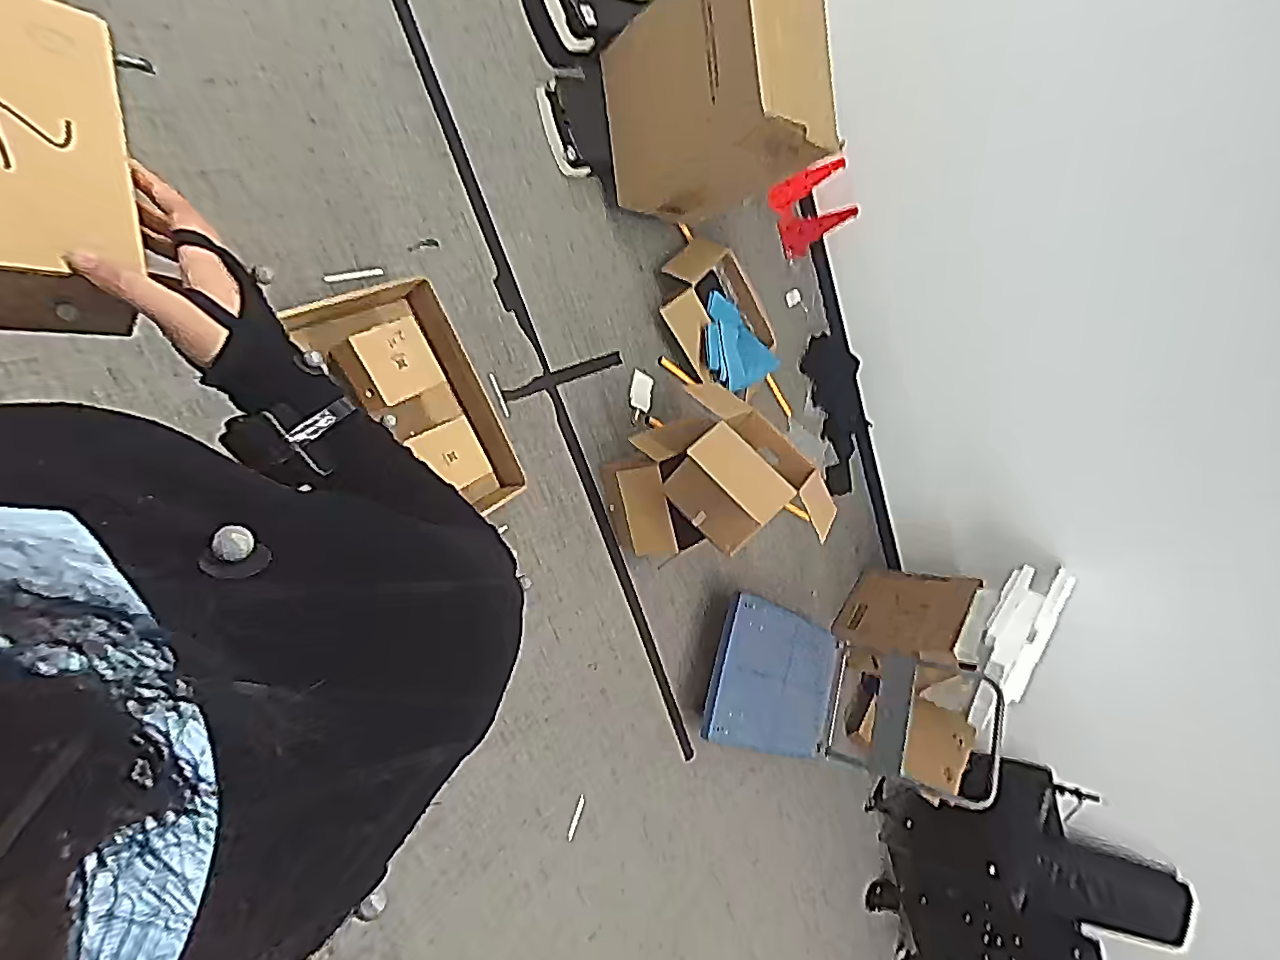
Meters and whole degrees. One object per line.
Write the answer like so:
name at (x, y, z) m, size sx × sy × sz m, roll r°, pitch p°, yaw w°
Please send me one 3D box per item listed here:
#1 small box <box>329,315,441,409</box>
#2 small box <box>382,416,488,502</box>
small box at (-0.633, -0.285, 1.341) m, size 0.168 × 0.176 × 0.179 m, roll -38°, pitch 114°, yaw -37°
small box at (-0.539, -0.055, 1.417) m, size 0.179 × 0.176 × 0.168 m, roll -35°, pitch 110°, yaw -37°
